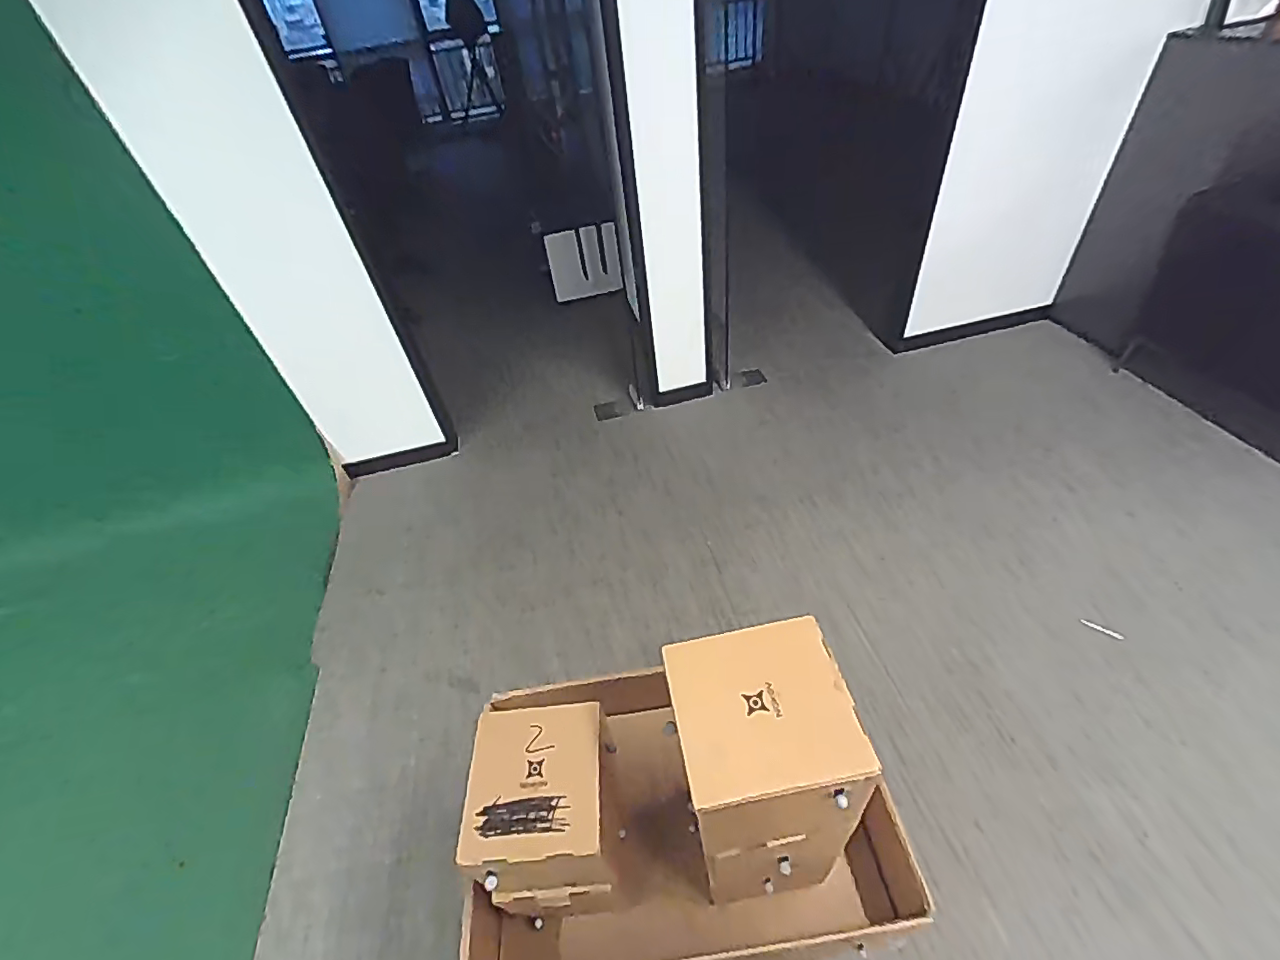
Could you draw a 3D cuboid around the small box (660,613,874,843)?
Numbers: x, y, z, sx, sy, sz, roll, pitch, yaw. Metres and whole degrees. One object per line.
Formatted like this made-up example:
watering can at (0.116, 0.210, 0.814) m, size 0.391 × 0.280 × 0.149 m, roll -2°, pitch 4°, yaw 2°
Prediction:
small box at (0.128, 0.277, 0.599) m, size 0.179 × 0.176 × 0.168 m, roll -11°, pitch 44°, yaw -2°
